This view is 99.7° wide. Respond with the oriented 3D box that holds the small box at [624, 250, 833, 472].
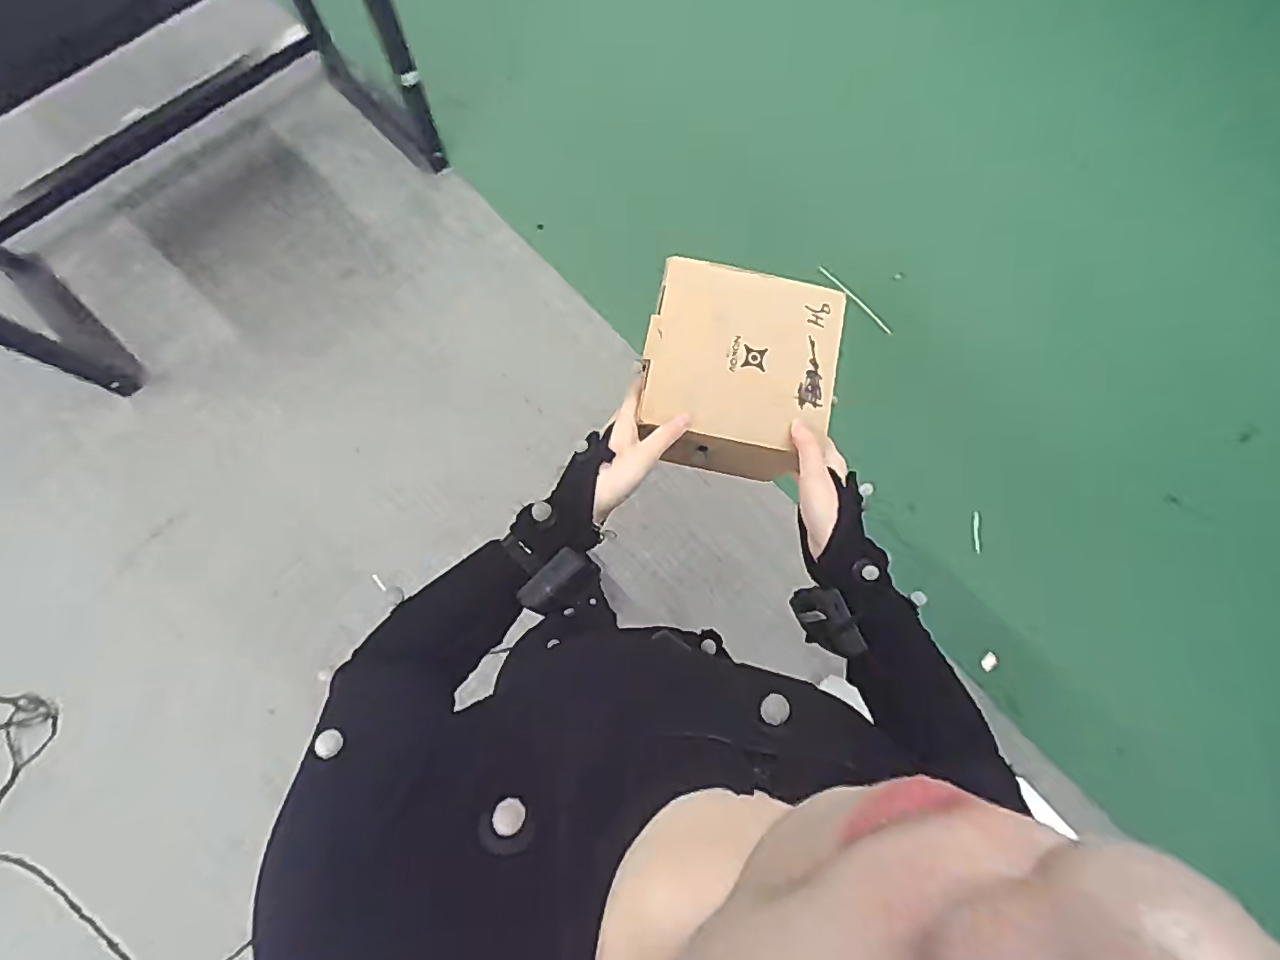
[{"bbox_3d":[0.081,-0.111,0.576,0.179,0.176,0.168,10,81,-2],"label":"small box"}]
